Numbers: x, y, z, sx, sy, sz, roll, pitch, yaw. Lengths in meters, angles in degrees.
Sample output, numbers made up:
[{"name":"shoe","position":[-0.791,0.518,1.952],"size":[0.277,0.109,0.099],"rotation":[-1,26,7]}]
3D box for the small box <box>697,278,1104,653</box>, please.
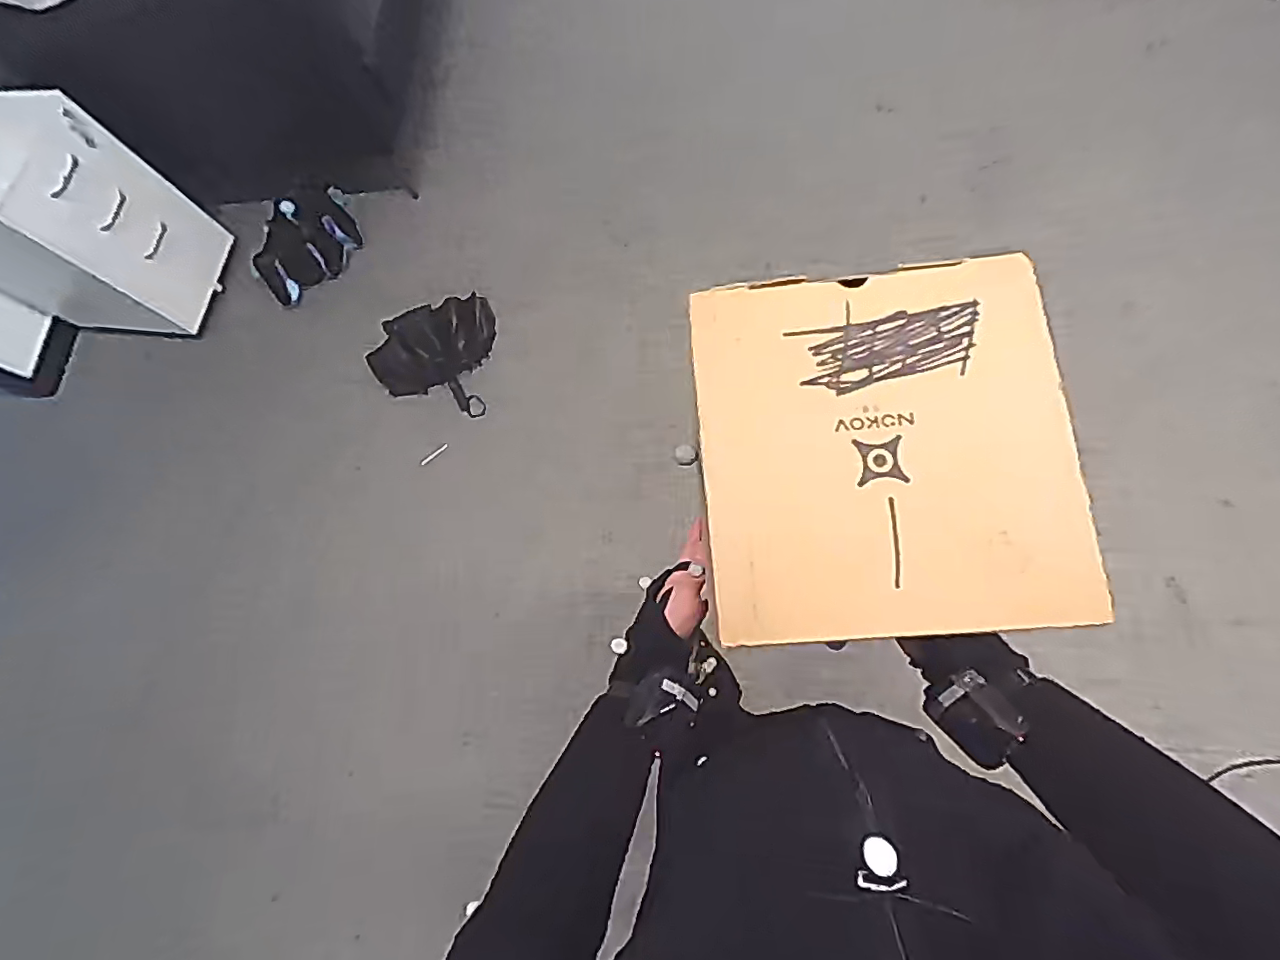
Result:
[{"name":"small box","position":[0.123,0.005,0.336],"size":[0.168,0.176,0.179],"rotation":[-5,79,5]}]
